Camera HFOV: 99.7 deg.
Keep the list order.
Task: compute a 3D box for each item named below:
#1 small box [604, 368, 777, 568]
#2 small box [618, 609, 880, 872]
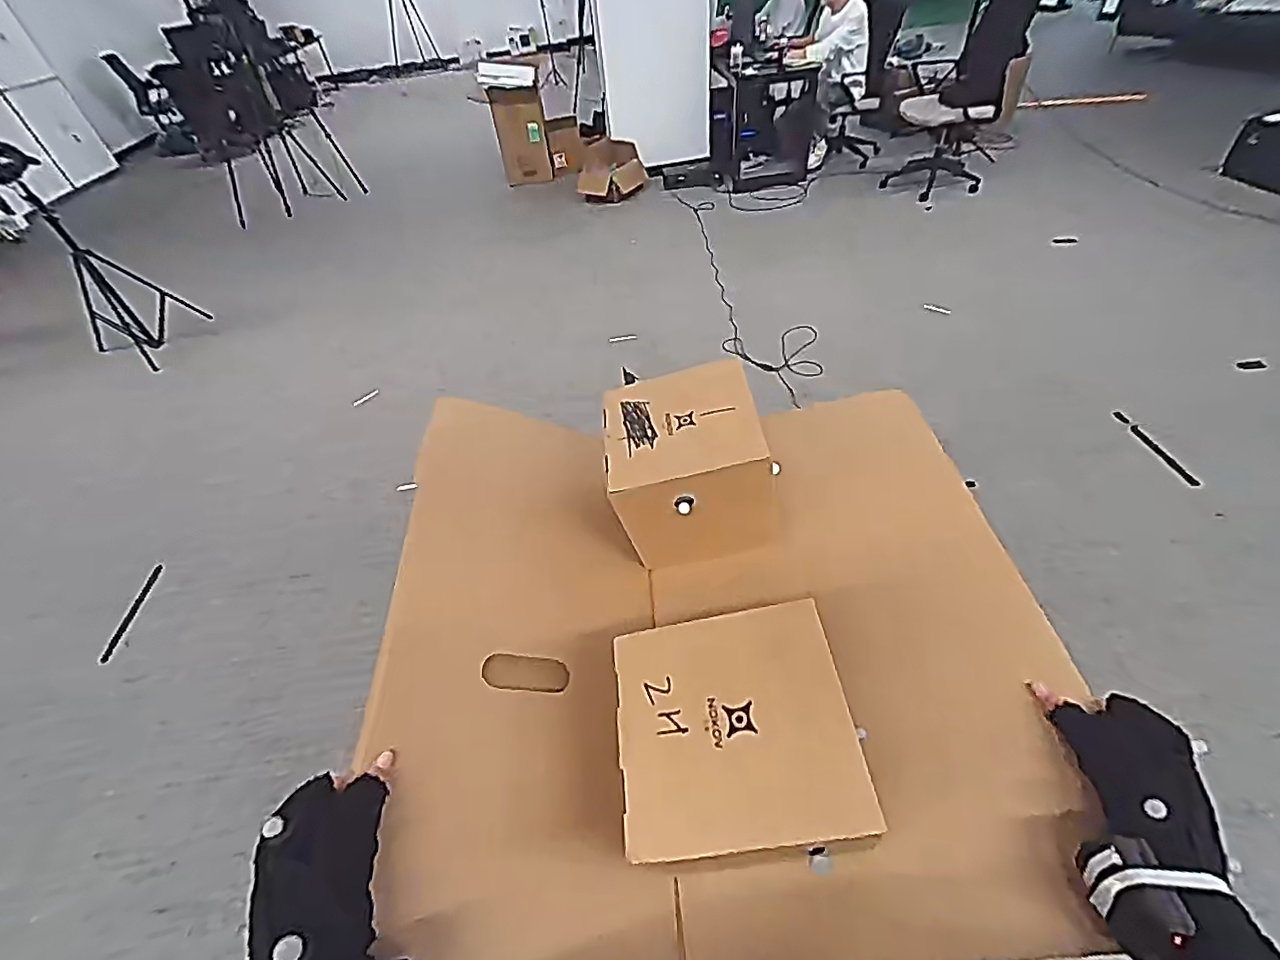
[{"bbox_3d":[0.064,-0.007,0.680,0.179,0.176,0.168,-13,50,9],"label":"small box"},{"bbox_3d":[0.090,0.236,0.477,0.179,0.176,0.168,-14,49,10],"label":"small box"}]
